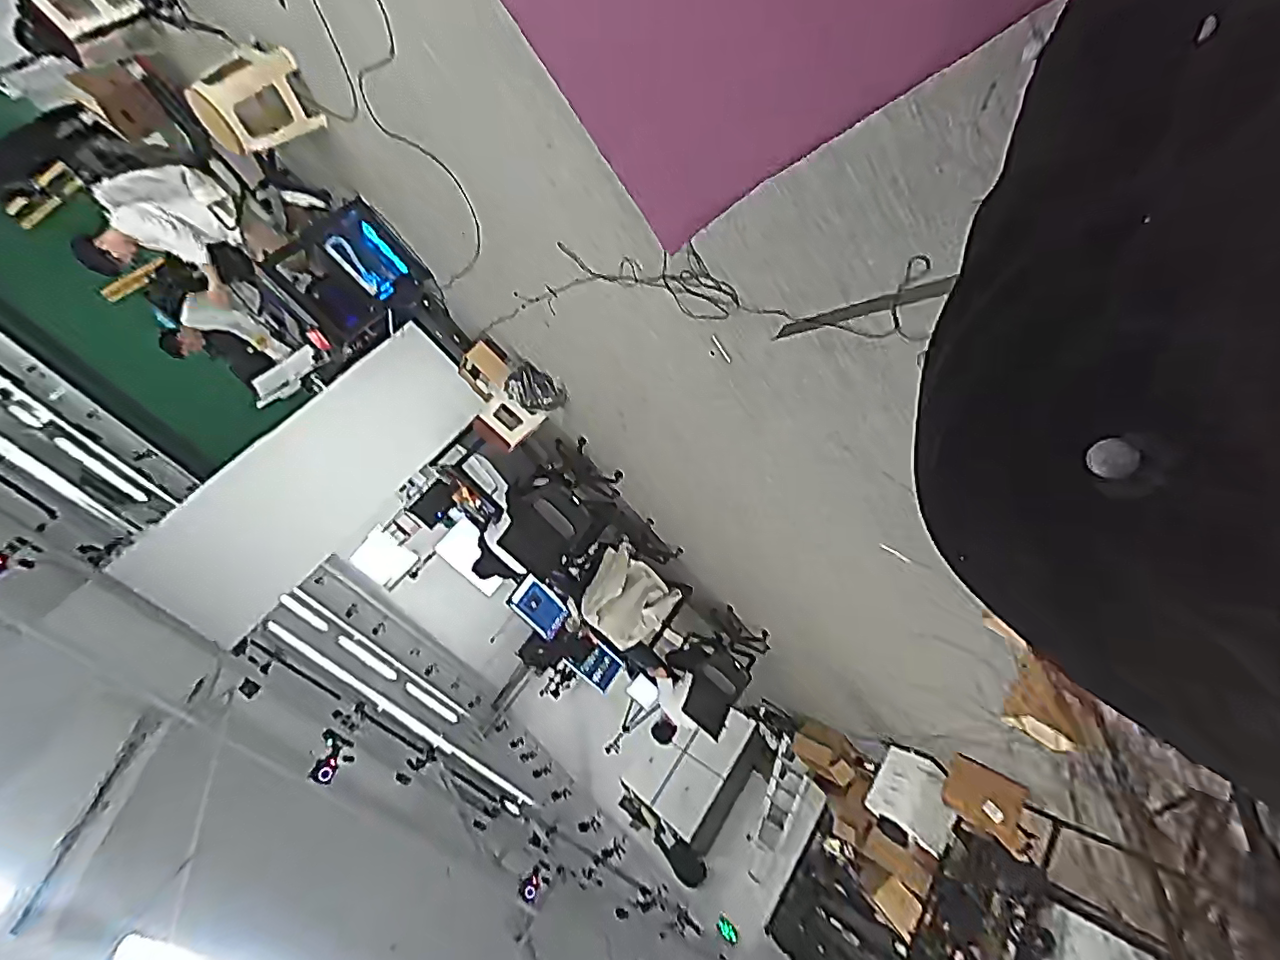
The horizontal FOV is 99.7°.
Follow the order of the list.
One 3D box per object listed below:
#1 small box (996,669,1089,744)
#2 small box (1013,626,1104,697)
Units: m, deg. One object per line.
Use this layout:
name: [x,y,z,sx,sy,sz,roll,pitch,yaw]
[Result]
small box: [1.324,0.740,1.774,0.168,0.176,0.179,34,157,13]
small box: [1.418,0.616,1.828,0.168,0.176,0.179,34,158,13]
